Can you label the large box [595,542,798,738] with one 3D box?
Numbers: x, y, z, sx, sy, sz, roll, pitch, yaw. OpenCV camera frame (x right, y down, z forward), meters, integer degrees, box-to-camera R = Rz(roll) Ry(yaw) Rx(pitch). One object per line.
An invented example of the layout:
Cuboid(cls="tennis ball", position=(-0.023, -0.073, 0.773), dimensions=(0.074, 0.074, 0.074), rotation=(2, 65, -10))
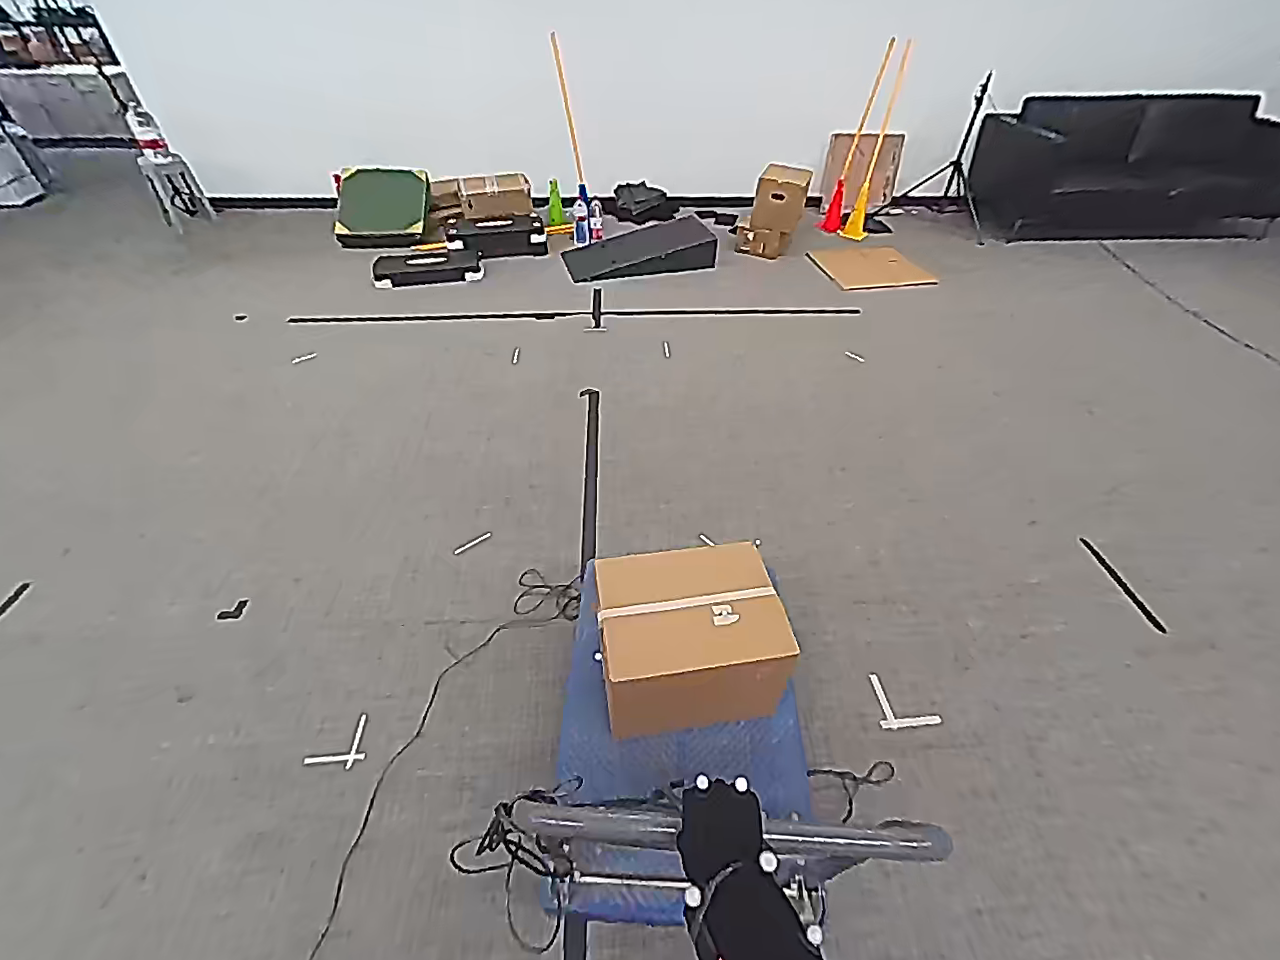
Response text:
Cuboid(cls="large box", position=(0.109, 0.386, 1.315), dimensions=(0.408, 0.320, 0.320), rotation=(-5, 44, -8))
